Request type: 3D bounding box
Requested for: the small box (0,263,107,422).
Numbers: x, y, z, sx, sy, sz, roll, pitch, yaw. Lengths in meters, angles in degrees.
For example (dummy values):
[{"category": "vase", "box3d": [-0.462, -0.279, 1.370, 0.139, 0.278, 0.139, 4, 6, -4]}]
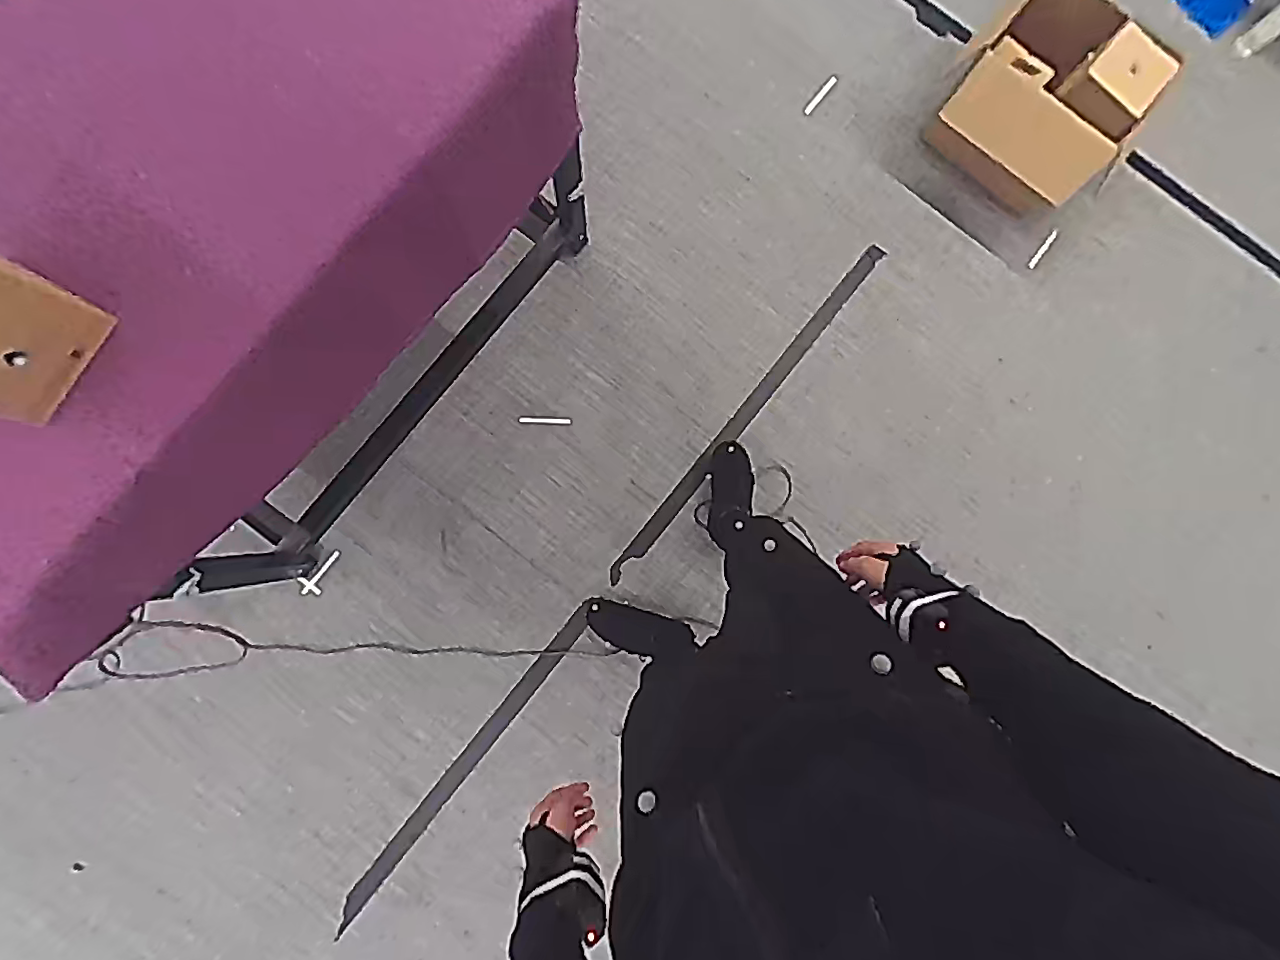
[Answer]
[{"category": "small box", "box3d": [-0.799, -0.181, 0.624, 0.179, 0.176, 0.168, 29, 83, 0]}]
